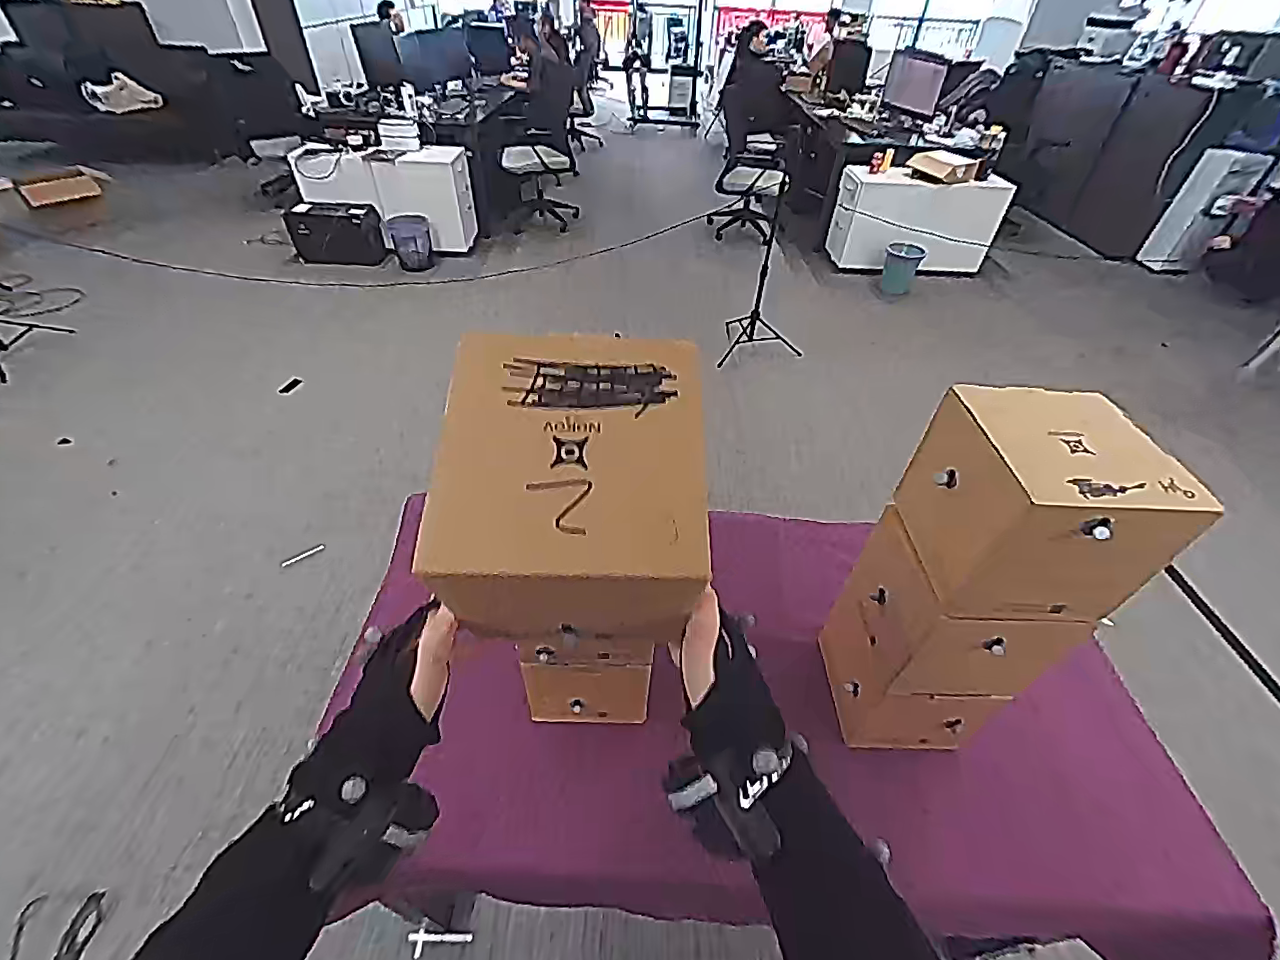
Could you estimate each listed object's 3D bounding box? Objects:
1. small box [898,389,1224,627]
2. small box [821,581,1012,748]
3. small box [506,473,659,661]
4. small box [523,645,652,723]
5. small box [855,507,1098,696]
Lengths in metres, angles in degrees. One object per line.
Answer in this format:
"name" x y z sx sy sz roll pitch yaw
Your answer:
"small box" 0.397 0.027 0.557 0.168 0.176 0.179 2 43 -1
"small box" 0.378 0.268 0.780 0.168 0.176 0.179 3 43 -1
"small box" -0.063 0.111 0.680 0.168 0.176 0.179 2 43 -3
"small box" -0.070 0.231 0.792 0.168 0.176 0.179 2 44 -2
"small box" 0.384 0.150 0.665 0.179 0.176 0.168 2 44 -2
